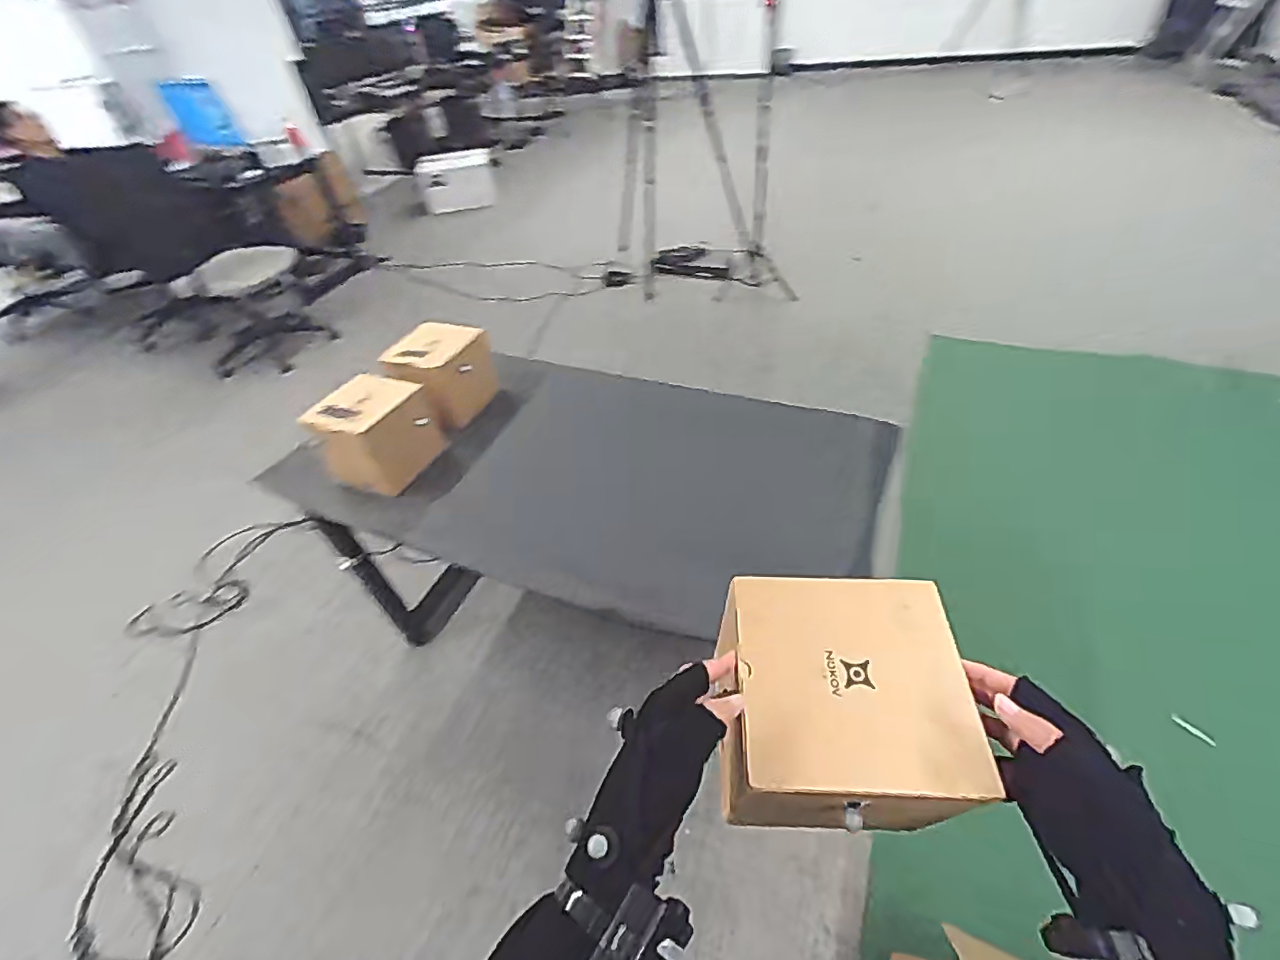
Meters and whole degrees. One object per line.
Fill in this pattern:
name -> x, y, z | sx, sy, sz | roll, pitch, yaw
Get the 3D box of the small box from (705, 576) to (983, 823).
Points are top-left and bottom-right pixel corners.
small box -> 0.154, 0.198, 0.483 | 0.179, 0.176, 0.168 | -1, 51, 3

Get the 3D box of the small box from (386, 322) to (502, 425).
small box -> -0.455, -0.253, 1.288 | 0.168, 0.176, 0.179 | 13, 47, 19
